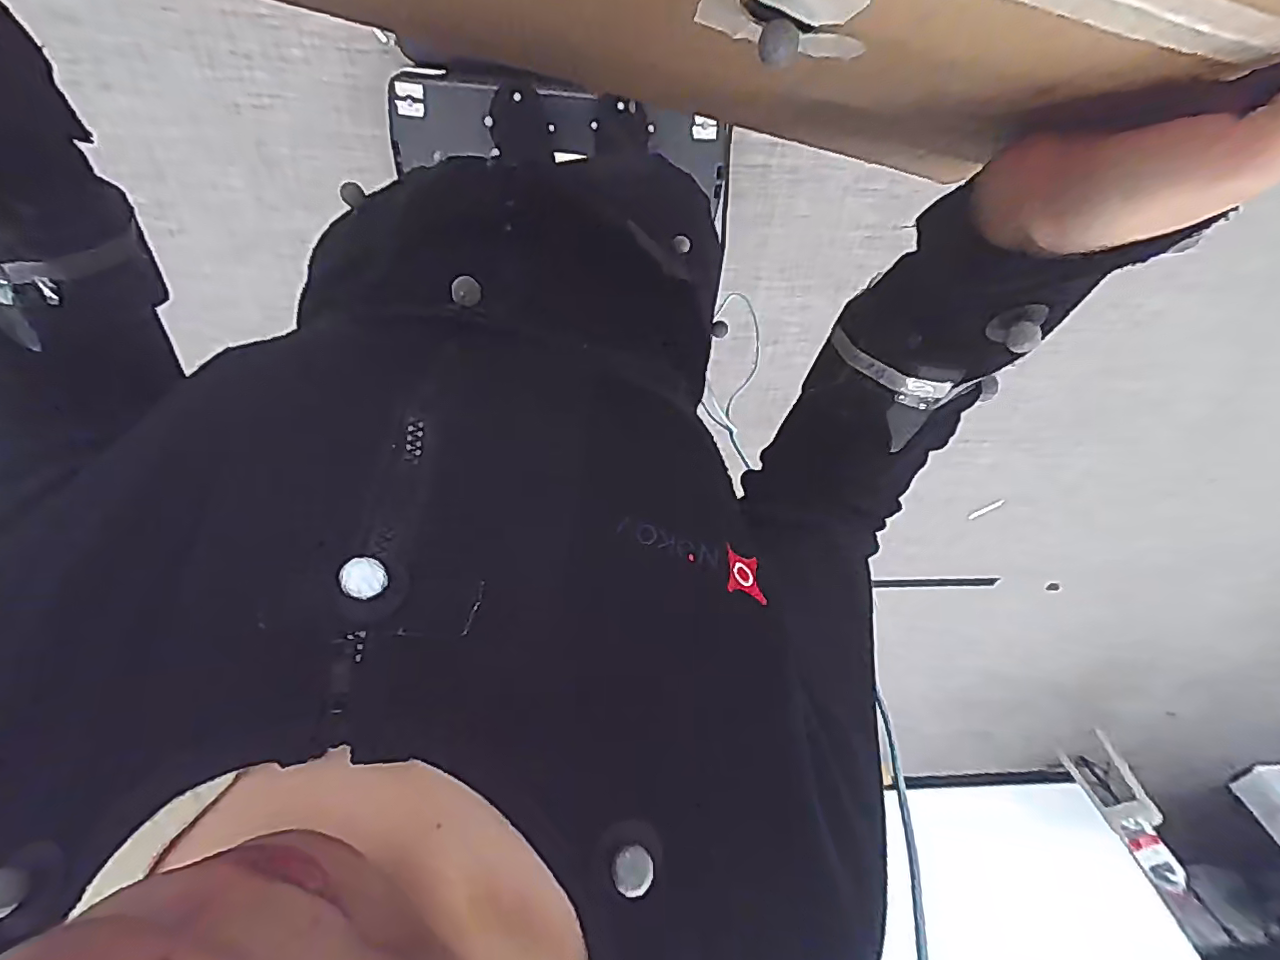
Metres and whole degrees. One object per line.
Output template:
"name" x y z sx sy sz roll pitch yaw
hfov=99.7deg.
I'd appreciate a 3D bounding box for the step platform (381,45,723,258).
"step platform" -0.171 -0.679 1.147 0.684 0.204 0.286 6 128 -8
